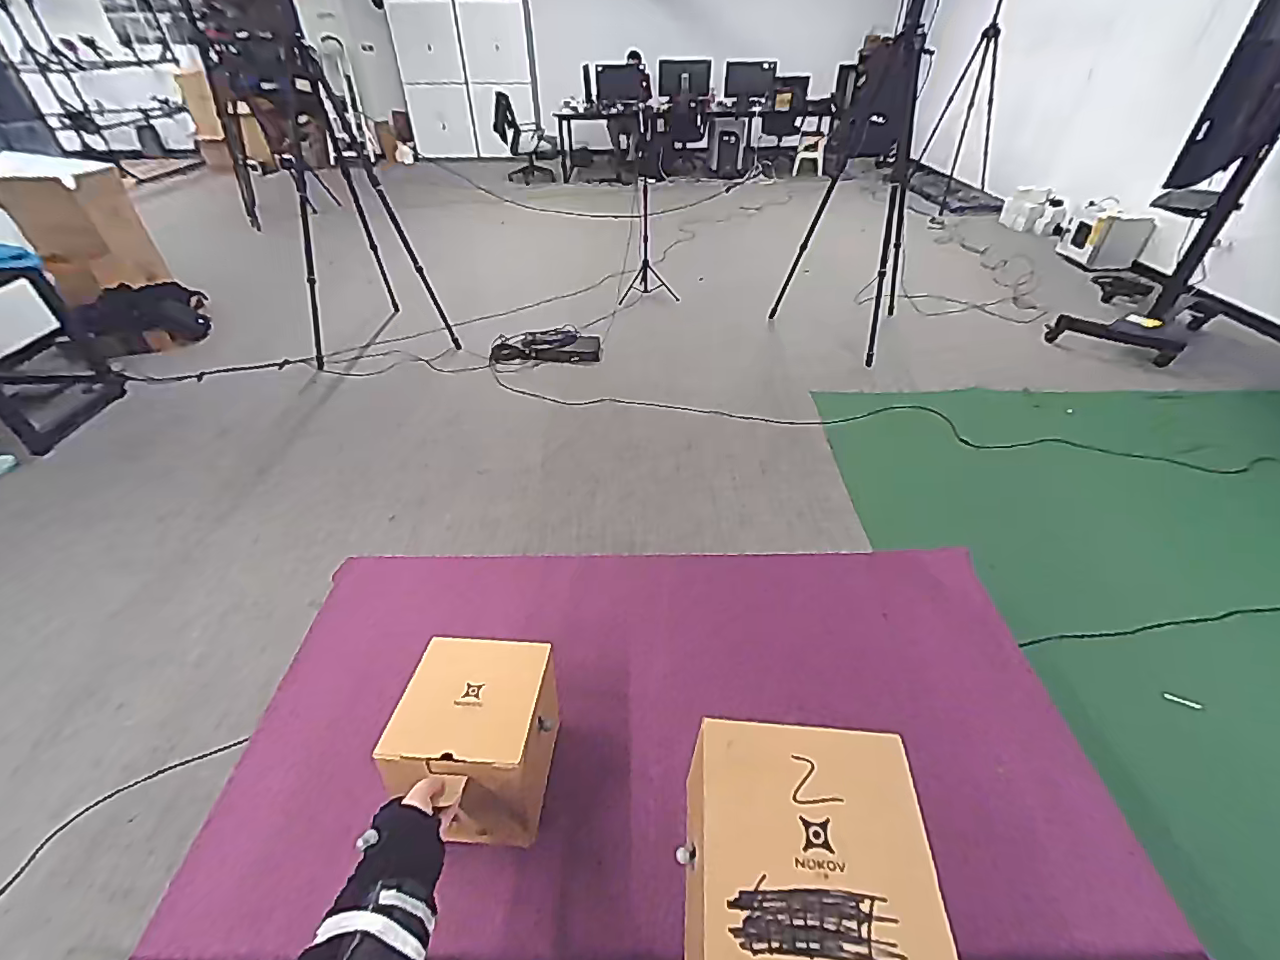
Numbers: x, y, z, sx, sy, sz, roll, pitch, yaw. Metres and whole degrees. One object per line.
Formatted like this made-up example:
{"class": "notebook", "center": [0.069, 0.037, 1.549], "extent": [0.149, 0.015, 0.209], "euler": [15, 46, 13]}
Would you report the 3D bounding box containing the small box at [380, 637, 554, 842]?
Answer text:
{"class": "small box", "center": [-0.211, 0.337, 0.715], "extent": [0.168, 0.176, 0.179], "euler": [3, 31, 2]}
